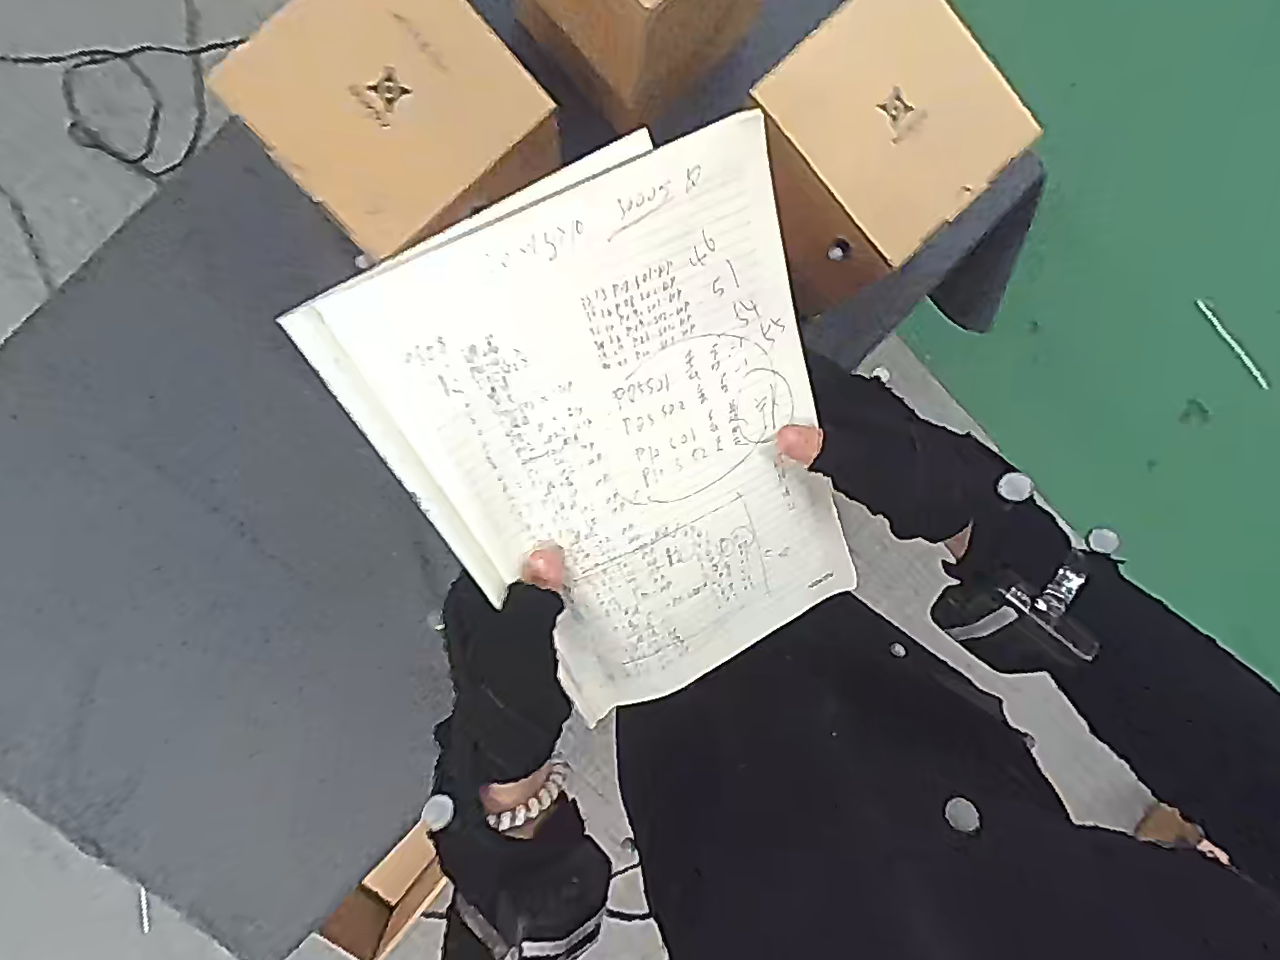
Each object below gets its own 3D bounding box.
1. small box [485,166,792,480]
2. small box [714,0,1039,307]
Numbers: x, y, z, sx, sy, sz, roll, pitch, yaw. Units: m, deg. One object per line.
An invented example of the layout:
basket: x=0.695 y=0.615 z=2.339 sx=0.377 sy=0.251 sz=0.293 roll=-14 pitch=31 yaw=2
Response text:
small box: x=-0.005 y=-0.118 z=0.481 sx=0.168 sy=0.176 sz=0.179 roll=42 pitch=87 yaw=-6
small box: x=0.192 y=-0.291 z=0.495 sx=0.168 sy=0.176 sz=0.179 roll=-43 pitch=96 yaw=-2
